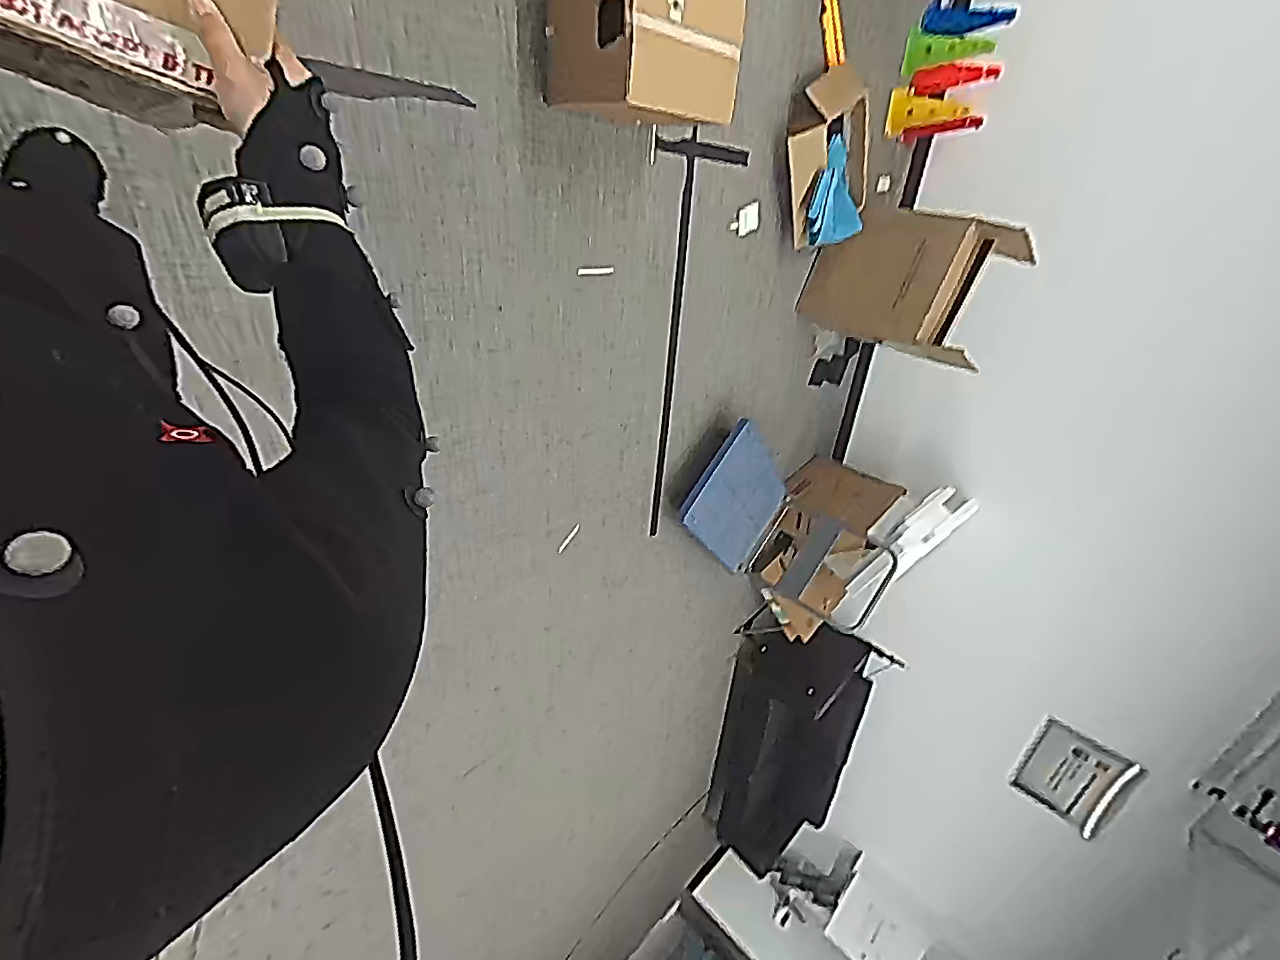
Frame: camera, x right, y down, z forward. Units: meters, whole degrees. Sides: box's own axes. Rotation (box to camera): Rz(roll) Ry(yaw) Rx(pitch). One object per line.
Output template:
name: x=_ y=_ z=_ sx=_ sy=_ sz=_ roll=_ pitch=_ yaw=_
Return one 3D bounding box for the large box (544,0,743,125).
large box: x=0.006 y=-1.115 z=1.388 sx=0.408 sy=0.320 sz=0.320 roll=-23 pitch=128 yaw=-40
